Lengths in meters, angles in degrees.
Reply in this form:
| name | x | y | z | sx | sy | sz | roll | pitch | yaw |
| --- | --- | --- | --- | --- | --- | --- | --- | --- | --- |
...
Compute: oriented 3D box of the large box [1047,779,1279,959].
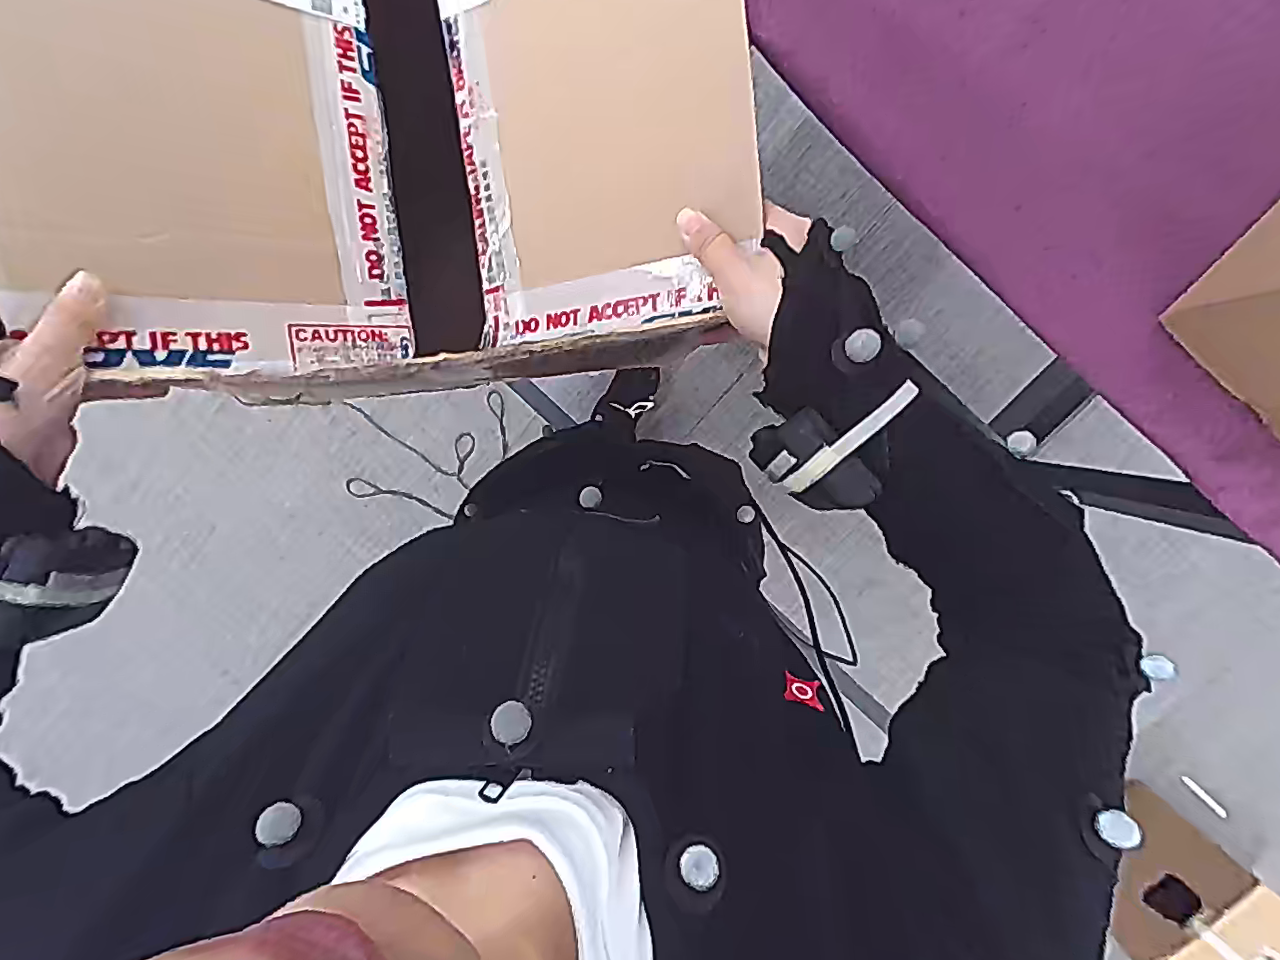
| name | x | y | z | sx | sy | sz | roll | pitch | yaw |
| --- | --- | --- | --- | --- | --- | --- | --- | --- | --- |
| large box | 1.303 | 1.016 | 1.261 | 0.408 | 0.320 | 0.320 | 41 | 98 | -1 |
